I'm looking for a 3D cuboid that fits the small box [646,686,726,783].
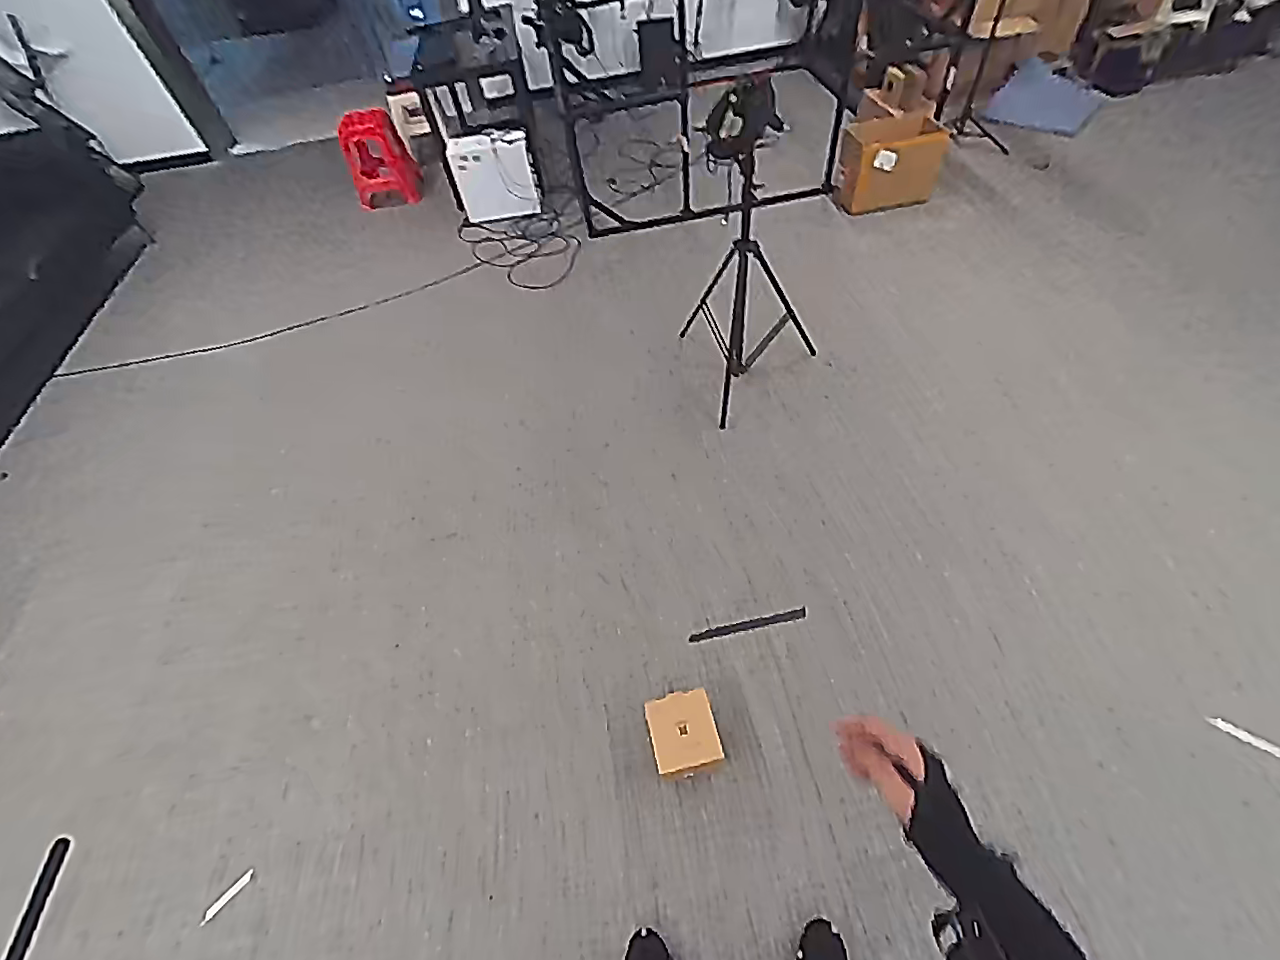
[{"bbox_3d":[0.119,0.670,1.417,0.168,0.176,0.179,-14,53,-2],"label":"small box"}]
